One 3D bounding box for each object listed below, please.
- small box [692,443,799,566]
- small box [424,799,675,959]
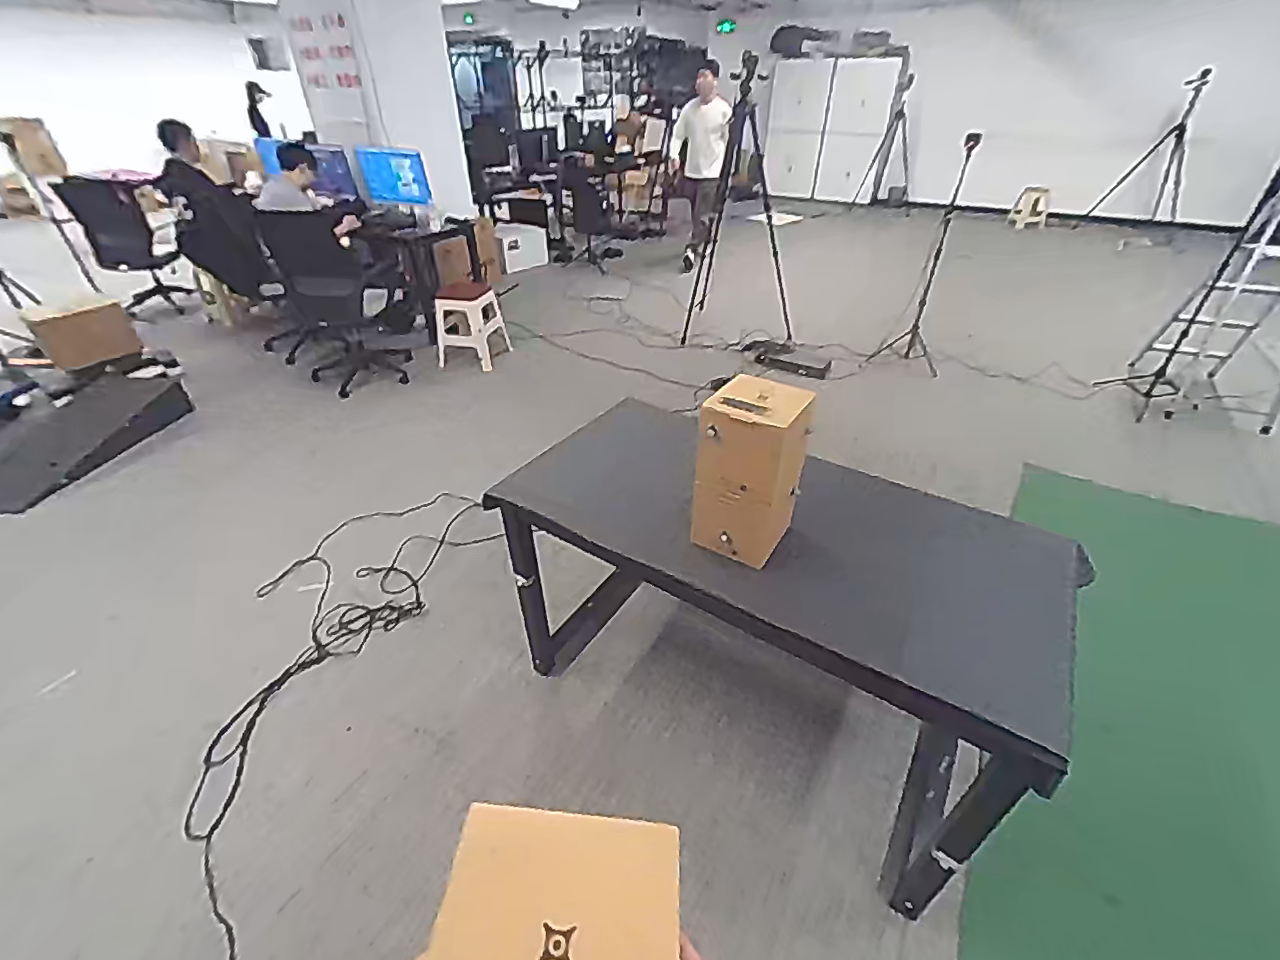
[{"bbox_3d":[0.219,0.051,1.158,0.168,0.176,0.179,21,40,26],"label":"small box"},{"bbox_3d":[-0.068,0.375,0.401,0.168,0.176,0.179,7,34,-3],"label":"small box"}]
